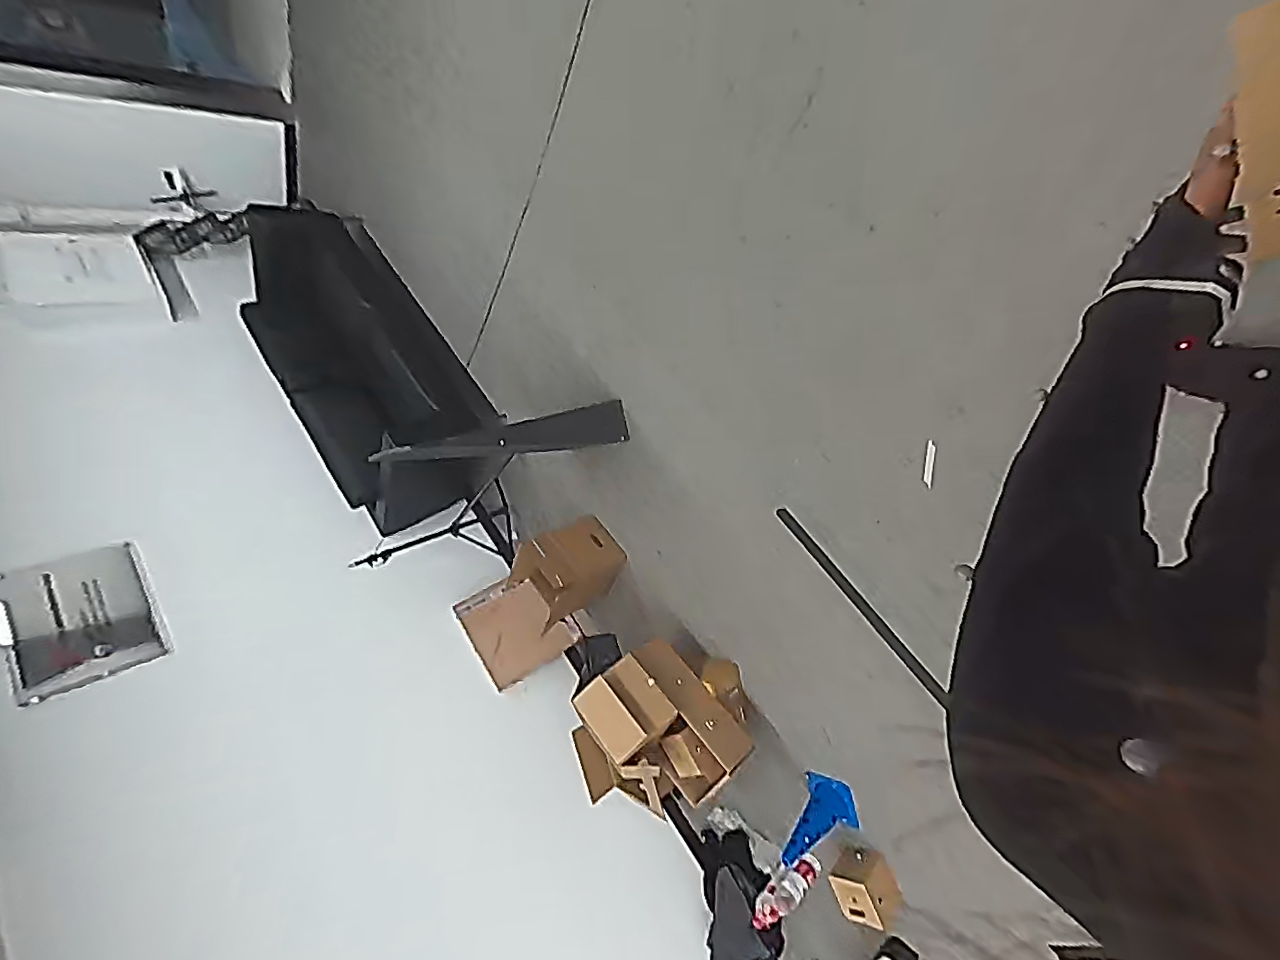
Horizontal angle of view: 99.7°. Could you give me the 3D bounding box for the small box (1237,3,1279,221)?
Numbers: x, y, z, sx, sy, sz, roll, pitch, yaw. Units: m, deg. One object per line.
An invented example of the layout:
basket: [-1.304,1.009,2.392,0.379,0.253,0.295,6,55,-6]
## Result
small box: [0.655,-0.357,0.472,0.168,0.176,0.179,-9,109,51]
